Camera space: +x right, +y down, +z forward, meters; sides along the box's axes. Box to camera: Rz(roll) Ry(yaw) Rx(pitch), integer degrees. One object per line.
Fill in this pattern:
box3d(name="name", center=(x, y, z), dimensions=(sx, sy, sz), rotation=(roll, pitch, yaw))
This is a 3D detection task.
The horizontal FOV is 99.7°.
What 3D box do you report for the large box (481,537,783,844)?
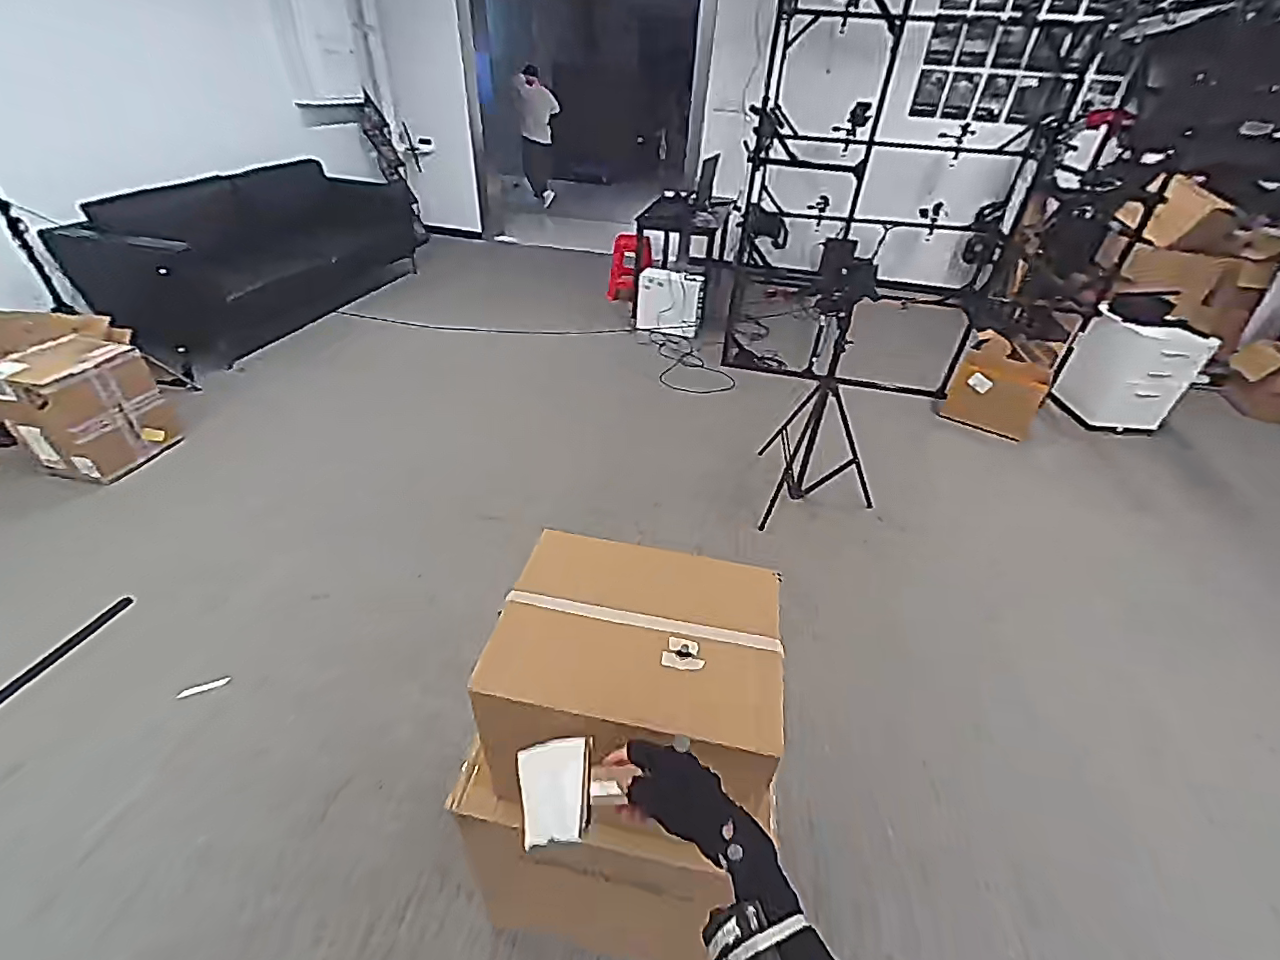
box3d(name="large box", center=(-0.003, 0.336, 0.895), dimensions=(0.408, 0.320, 0.320), rotation=(9, 37, 6))
